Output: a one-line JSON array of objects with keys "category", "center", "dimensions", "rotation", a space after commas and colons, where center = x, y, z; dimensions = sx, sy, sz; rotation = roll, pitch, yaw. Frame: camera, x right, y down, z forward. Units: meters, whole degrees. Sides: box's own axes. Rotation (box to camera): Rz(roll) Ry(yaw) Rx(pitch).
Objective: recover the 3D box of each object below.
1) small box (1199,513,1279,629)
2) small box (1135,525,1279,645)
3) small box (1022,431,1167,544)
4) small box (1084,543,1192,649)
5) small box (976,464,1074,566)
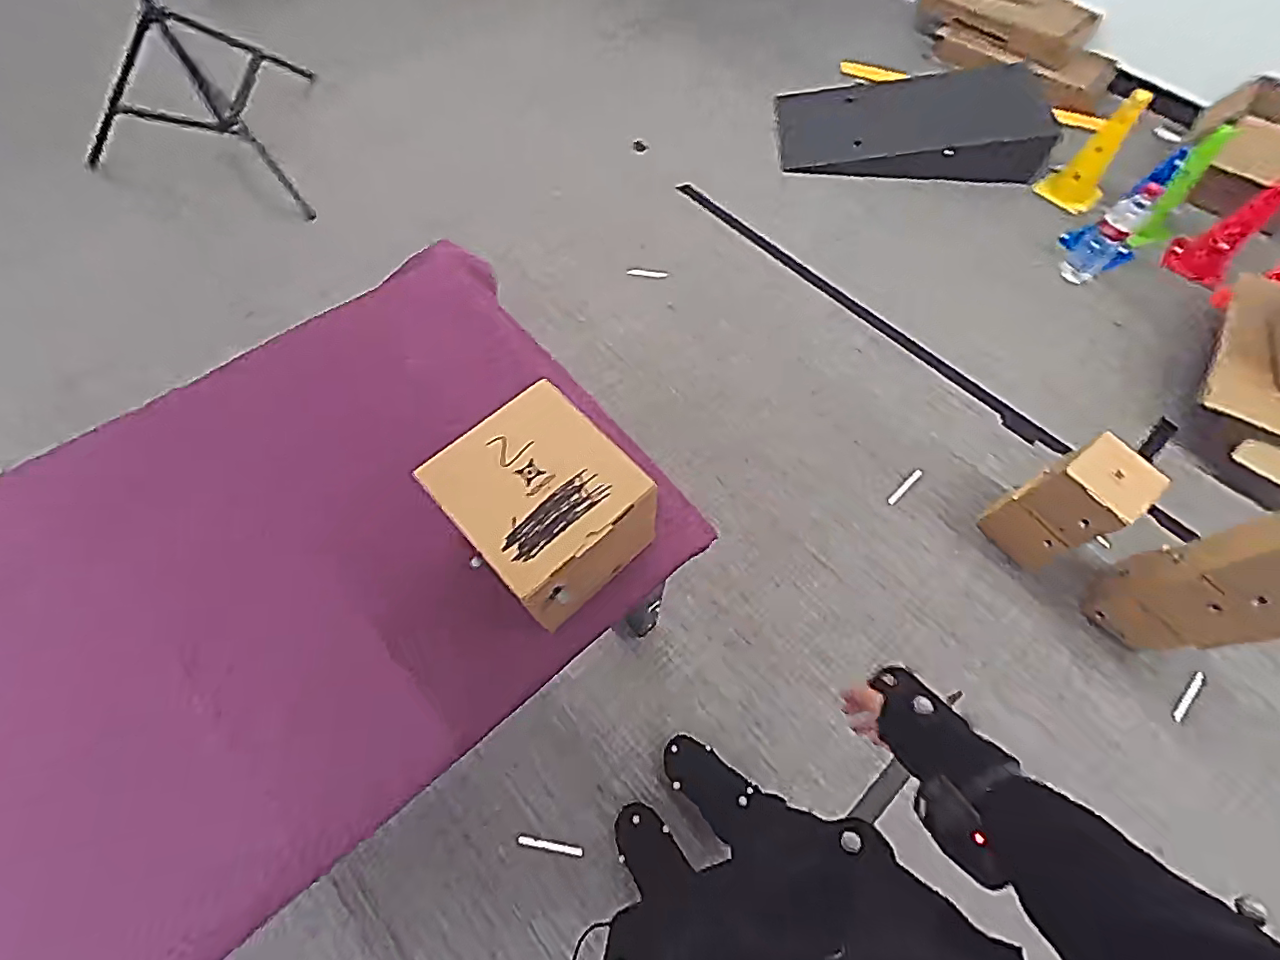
[{"category": "small box", "center": [1.249, 0.166, 1.020], "dimensions": [0.168, 0.176, 0.179], "rotation": [-35, 72, -16]}, {"category": "small box", "center": [1.246, 0.234, 1.170], "dimensions": [0.168, 0.176, 0.179], "rotation": [-38, 72, -17]}, {"category": "small box", "center": [1.048, 0.024, 1.267], "dimensions": [0.179, 0.176, 0.168], "rotation": [-35, 72, -18]}, {"category": "small box", "center": [1.250, 0.291, 1.325], "dimensions": [0.179, 0.176, 0.168], "rotation": [-40, 73, -19]}, {"category": "small box", "center": [1.034, 0.096, 1.412], "dimensions": [0.168, 0.176, 0.179], "rotation": [-34, 70, -17]}]
